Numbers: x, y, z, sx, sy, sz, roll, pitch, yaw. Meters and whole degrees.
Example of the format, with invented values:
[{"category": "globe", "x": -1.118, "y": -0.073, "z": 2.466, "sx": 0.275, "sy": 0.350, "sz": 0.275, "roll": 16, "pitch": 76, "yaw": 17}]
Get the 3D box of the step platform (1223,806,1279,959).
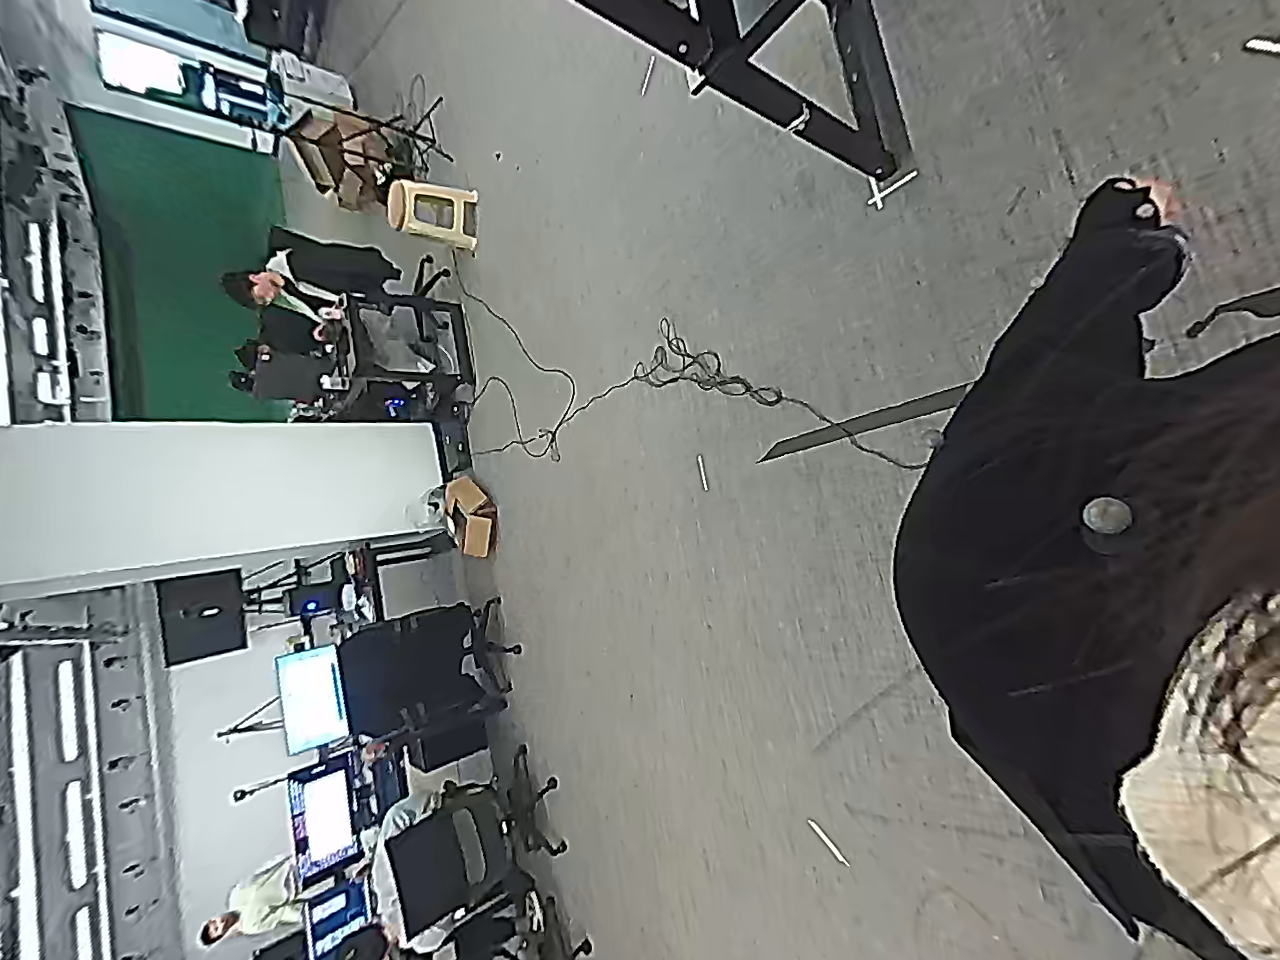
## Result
[{"category": "step platform", "x": 1.303, "y": 0.738, "z": 0.739, "sx": 0.684, "sy": 0.204, "sz": 0.286, "roll": -9, "pitch": 87, "yaw": 50}]
